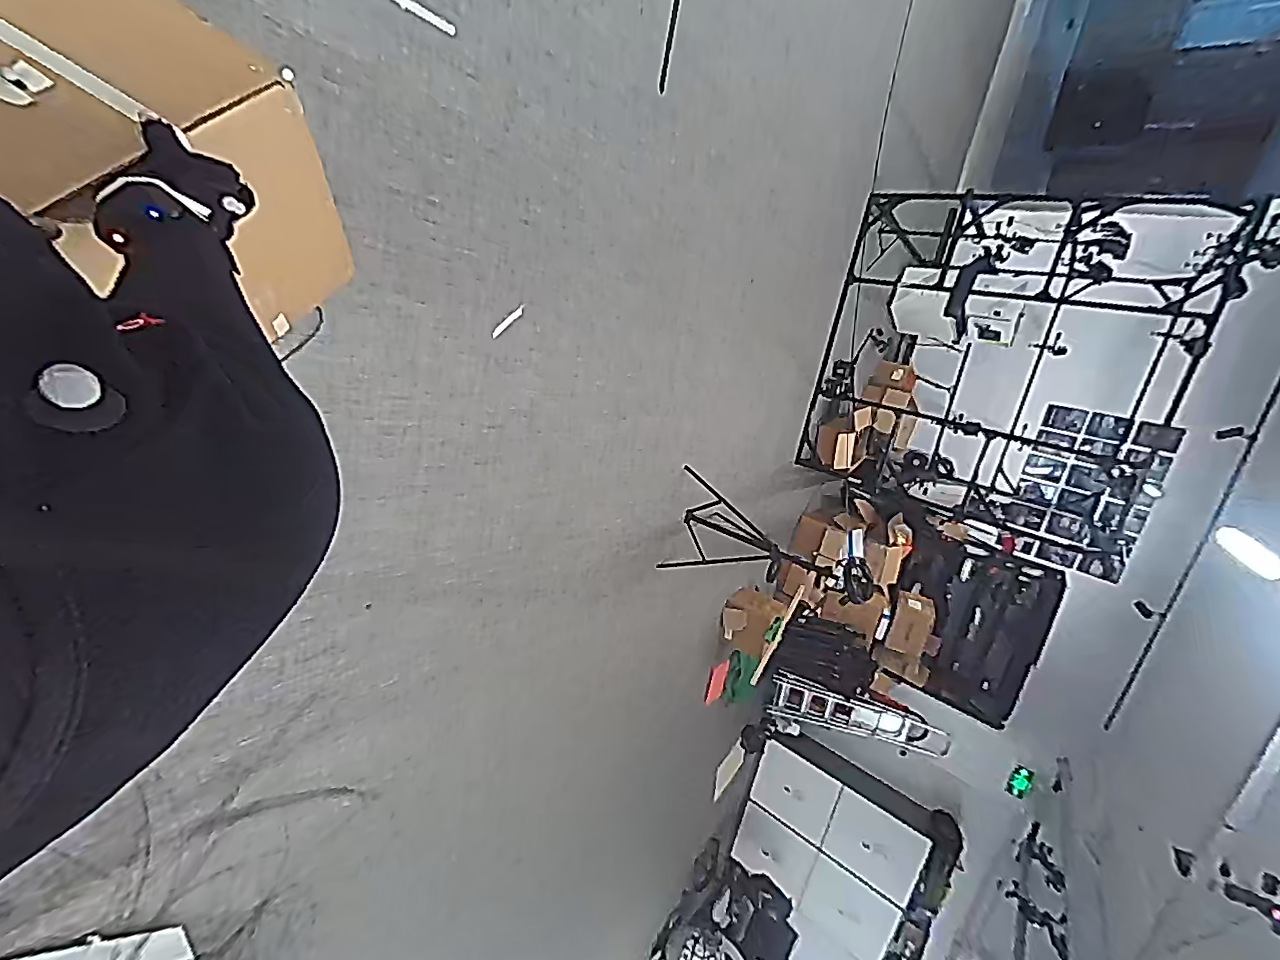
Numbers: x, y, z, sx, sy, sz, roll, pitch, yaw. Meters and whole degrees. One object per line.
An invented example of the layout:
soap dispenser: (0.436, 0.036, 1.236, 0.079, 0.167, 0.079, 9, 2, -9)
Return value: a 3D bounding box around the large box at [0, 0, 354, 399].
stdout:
large box: (-0.670, -0.381, 0.693, 0.320, 0.408, 0.320, -57, 179, -26)
